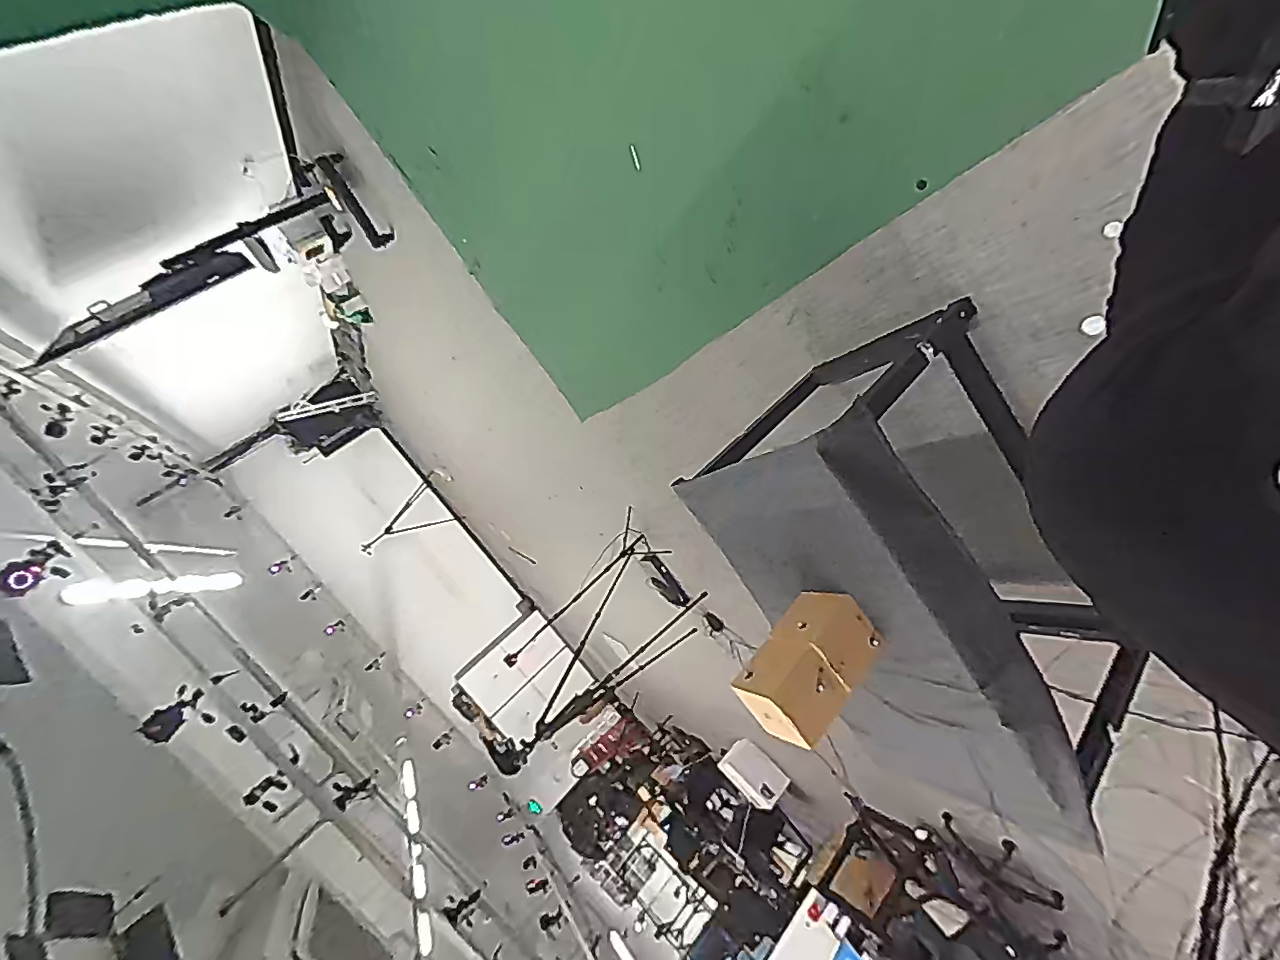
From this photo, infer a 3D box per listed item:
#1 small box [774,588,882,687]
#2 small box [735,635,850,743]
[{"bbox_3d":[0.489,0.394,1.388,0.168,0.176,0.179,53,157,-8],"label":"small box"},{"bbox_3d":[0.378,0.505,1.336,0.168,0.176,0.179,51,155,-7],"label":"small box"}]
